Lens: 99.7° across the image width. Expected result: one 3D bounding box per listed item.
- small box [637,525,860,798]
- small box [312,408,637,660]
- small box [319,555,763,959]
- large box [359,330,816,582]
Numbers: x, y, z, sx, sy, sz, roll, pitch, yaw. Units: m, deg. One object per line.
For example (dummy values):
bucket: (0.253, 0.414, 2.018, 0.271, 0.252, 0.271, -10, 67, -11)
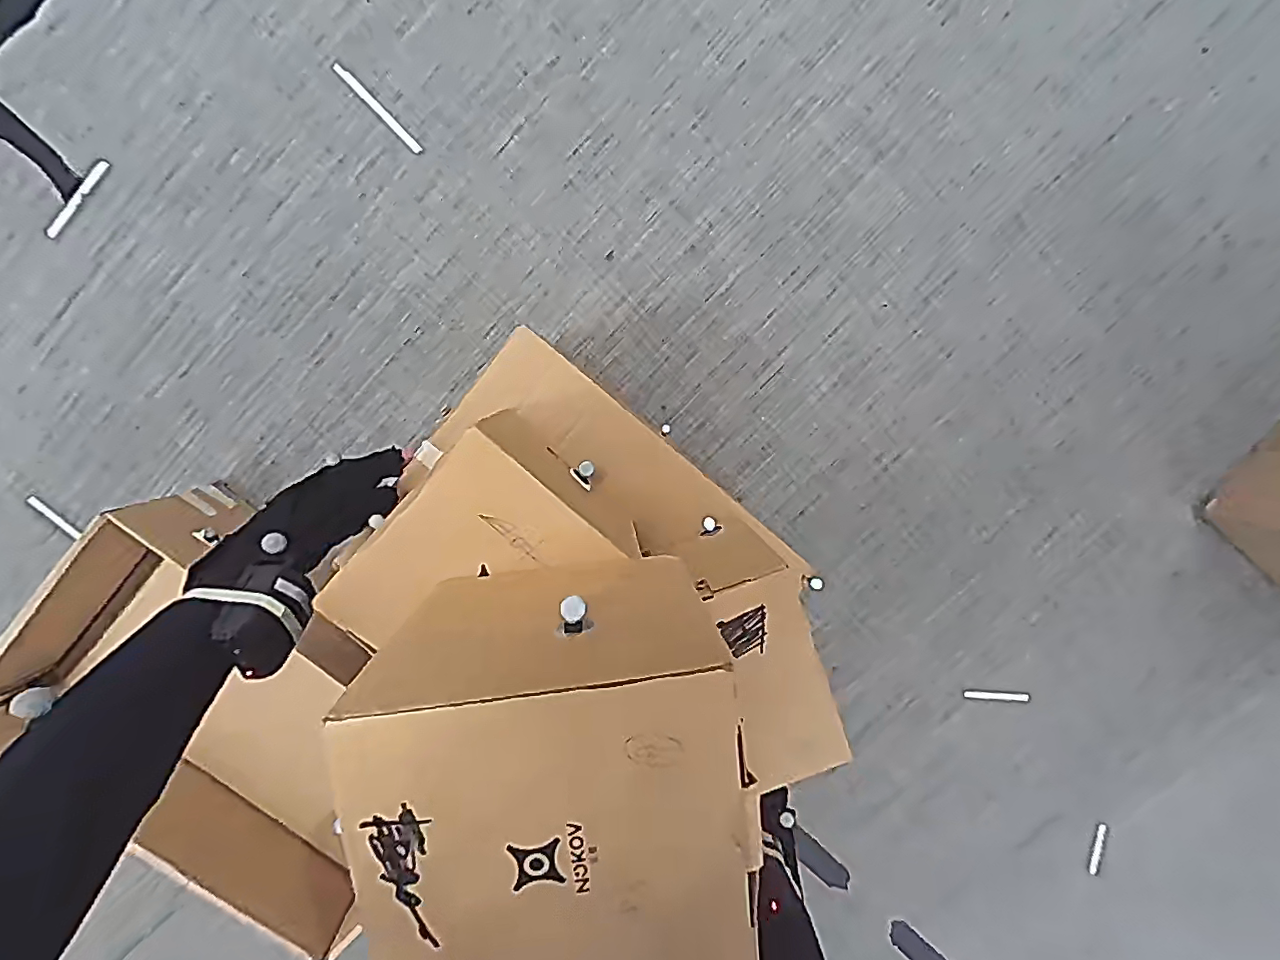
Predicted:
small box: (0.060, 0.152, 0.485, 0.168, 0.176, 0.179, -22, 99, 1)
small box: (-0.119, 0.058, 0.459, 0.168, 0.176, 0.179, 40, 95, -13)
small box: (-0.043, 0.150, 0.313, 0.179, 0.176, 0.168, -7, 99, -5)
large box: (-0.068, 0.058, 0.710, 0.408, 0.320, 0.320, 38, 97, -11)
